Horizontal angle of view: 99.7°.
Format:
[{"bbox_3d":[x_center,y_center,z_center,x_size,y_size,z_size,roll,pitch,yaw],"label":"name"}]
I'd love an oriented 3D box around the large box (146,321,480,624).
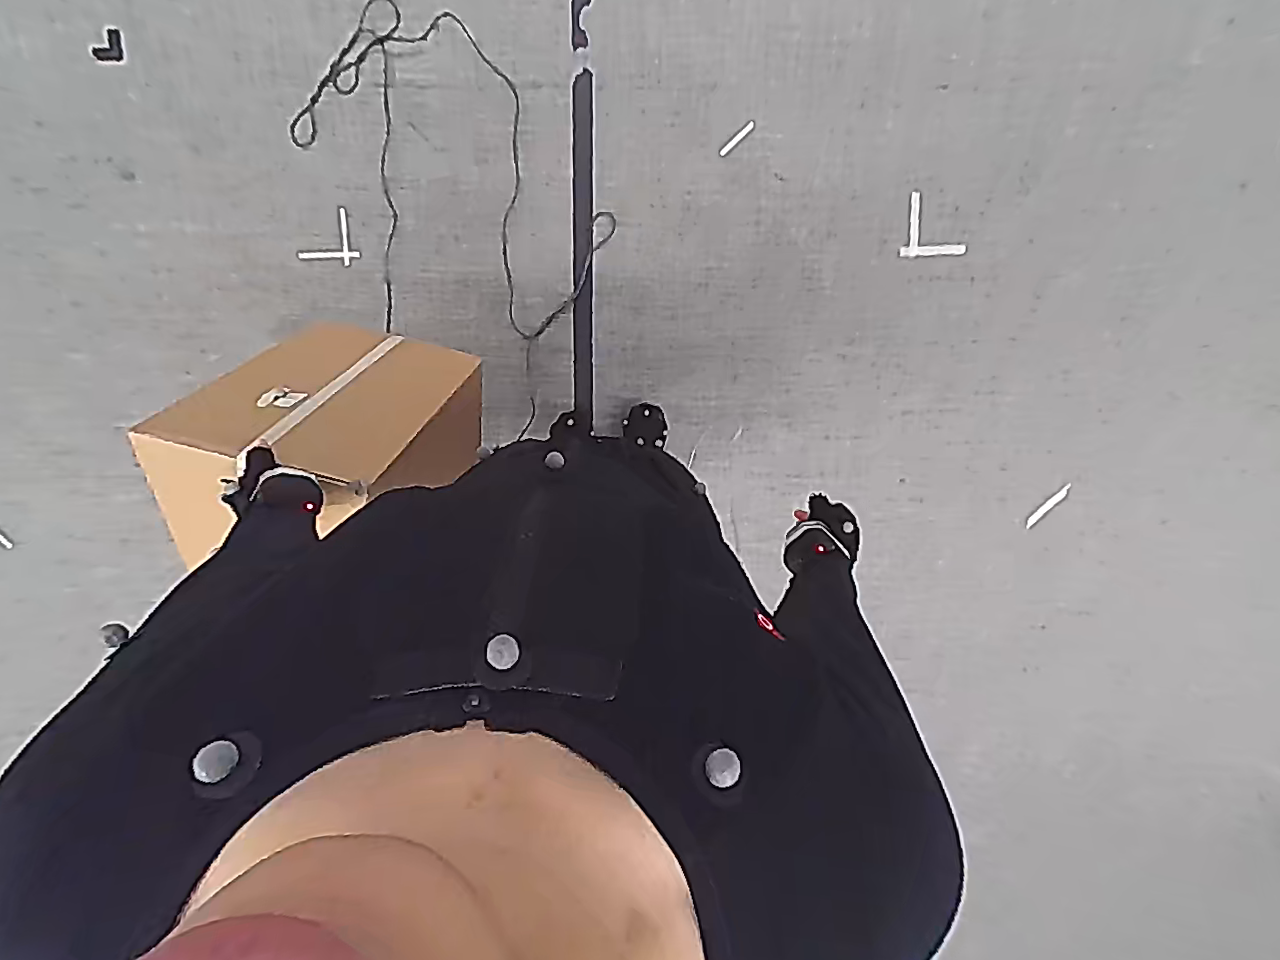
[{"bbox_3d":[-0.500,-0.028,0.948,0.320,0.408,0.320,14,129,0],"label":"large box"}]
